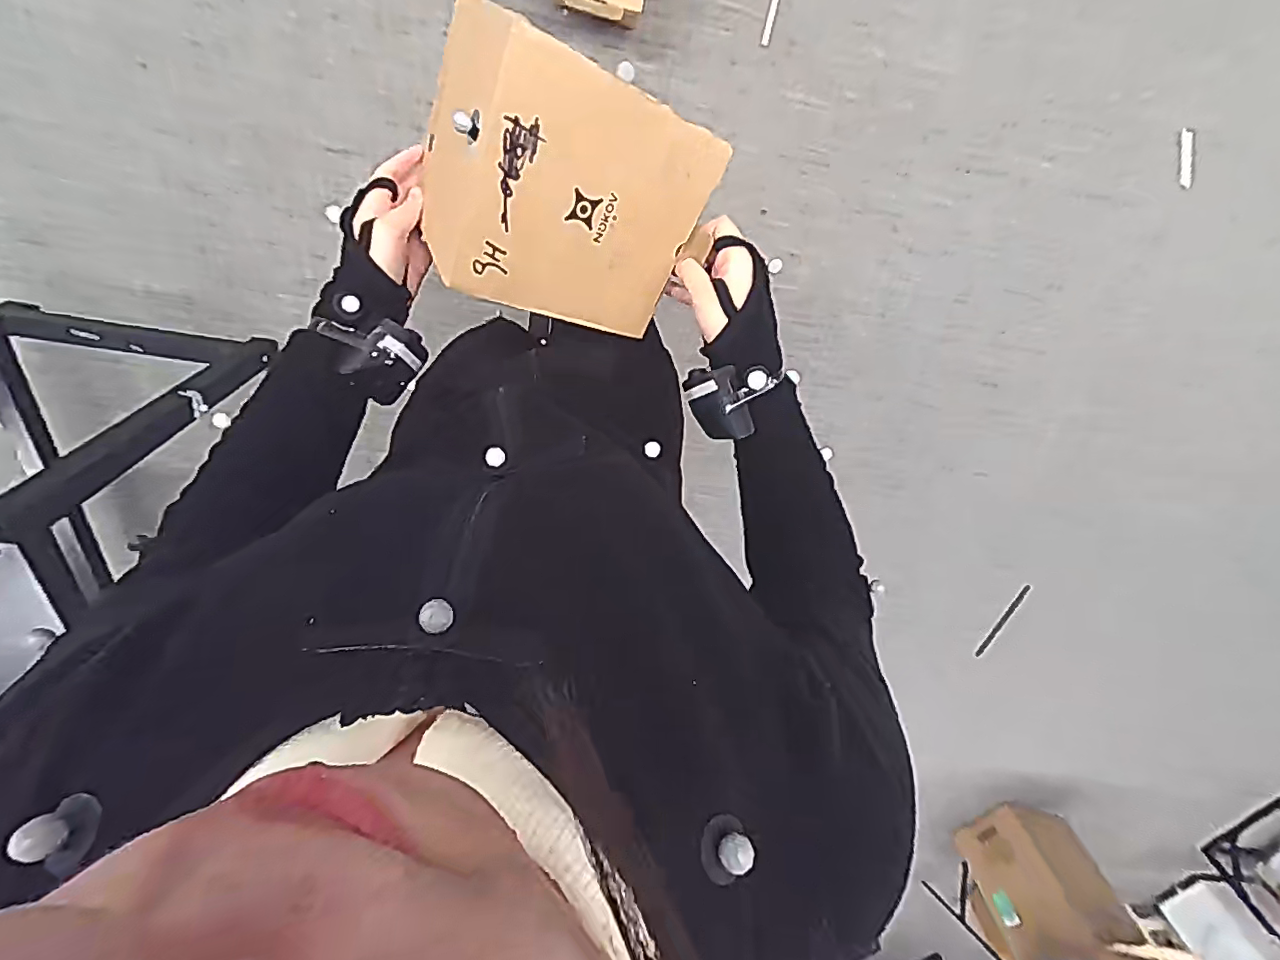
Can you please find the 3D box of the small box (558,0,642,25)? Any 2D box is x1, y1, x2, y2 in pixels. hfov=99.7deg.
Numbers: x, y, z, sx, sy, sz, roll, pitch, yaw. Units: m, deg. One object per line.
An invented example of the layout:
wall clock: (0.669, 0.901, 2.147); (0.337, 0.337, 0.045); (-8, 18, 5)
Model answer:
small box: (-0.063, -0.899, 0.904); (0.168, 0.176, 0.179); (9, 122, -11)

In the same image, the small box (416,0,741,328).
small box: (-0.061, -0.251, 0.433); (0.179, 0.176, 0.168); (5, 127, -37)
